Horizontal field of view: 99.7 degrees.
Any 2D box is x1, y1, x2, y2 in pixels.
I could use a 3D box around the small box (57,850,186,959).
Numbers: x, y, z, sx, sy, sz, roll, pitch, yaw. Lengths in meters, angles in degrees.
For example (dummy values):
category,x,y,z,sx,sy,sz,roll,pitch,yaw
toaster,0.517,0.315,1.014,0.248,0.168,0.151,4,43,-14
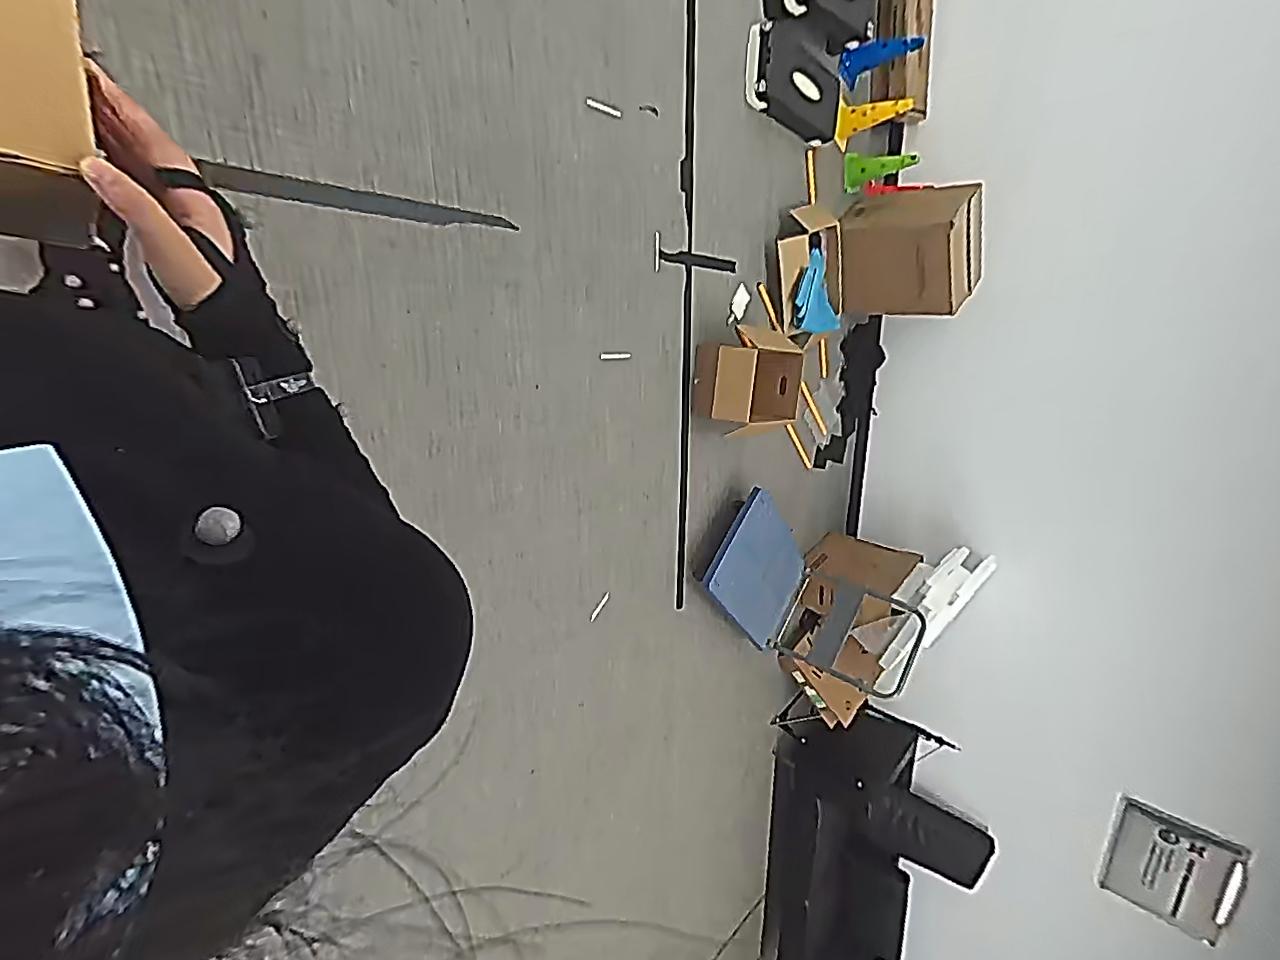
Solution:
category,x,y,z,sx,sy,sz,roll,pitch,yaw
small box,-1.135,0.961,1.184,0.168,0.176,0.179,-20,116,-43
